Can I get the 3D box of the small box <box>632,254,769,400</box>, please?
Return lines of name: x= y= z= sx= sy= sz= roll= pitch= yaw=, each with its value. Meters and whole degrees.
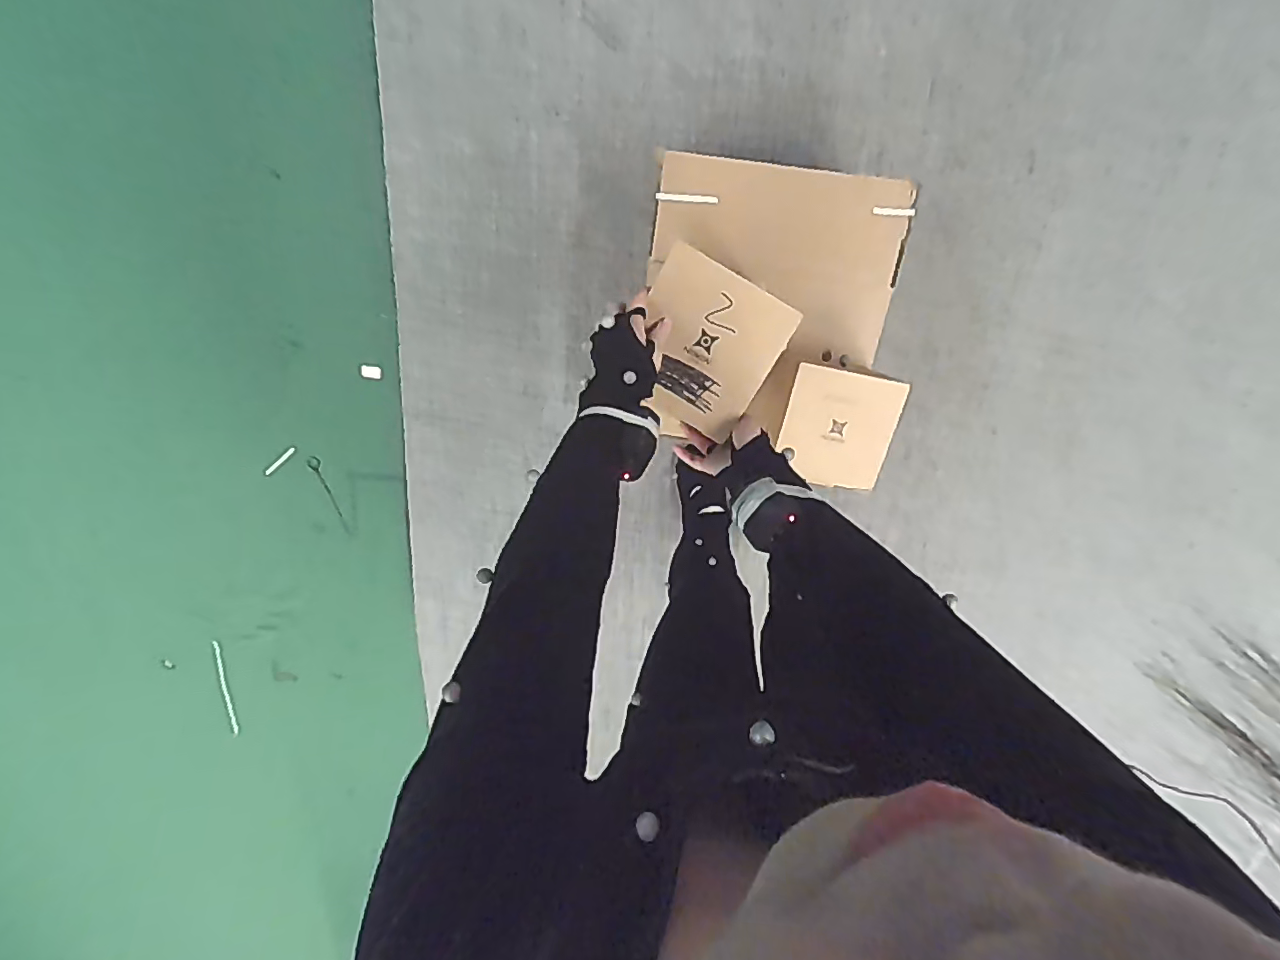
small box: x=0.090 y=-0.238 z=0.846 sx=0.168 sy=0.176 sz=0.179 roll=12 pitch=108 yaw=2

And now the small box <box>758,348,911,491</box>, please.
small box: x=0.297 y=-0.105 z=0.873 sx=0.168 sy=0.176 sz=0.179 roll=12 pitch=109 yaw=-1
